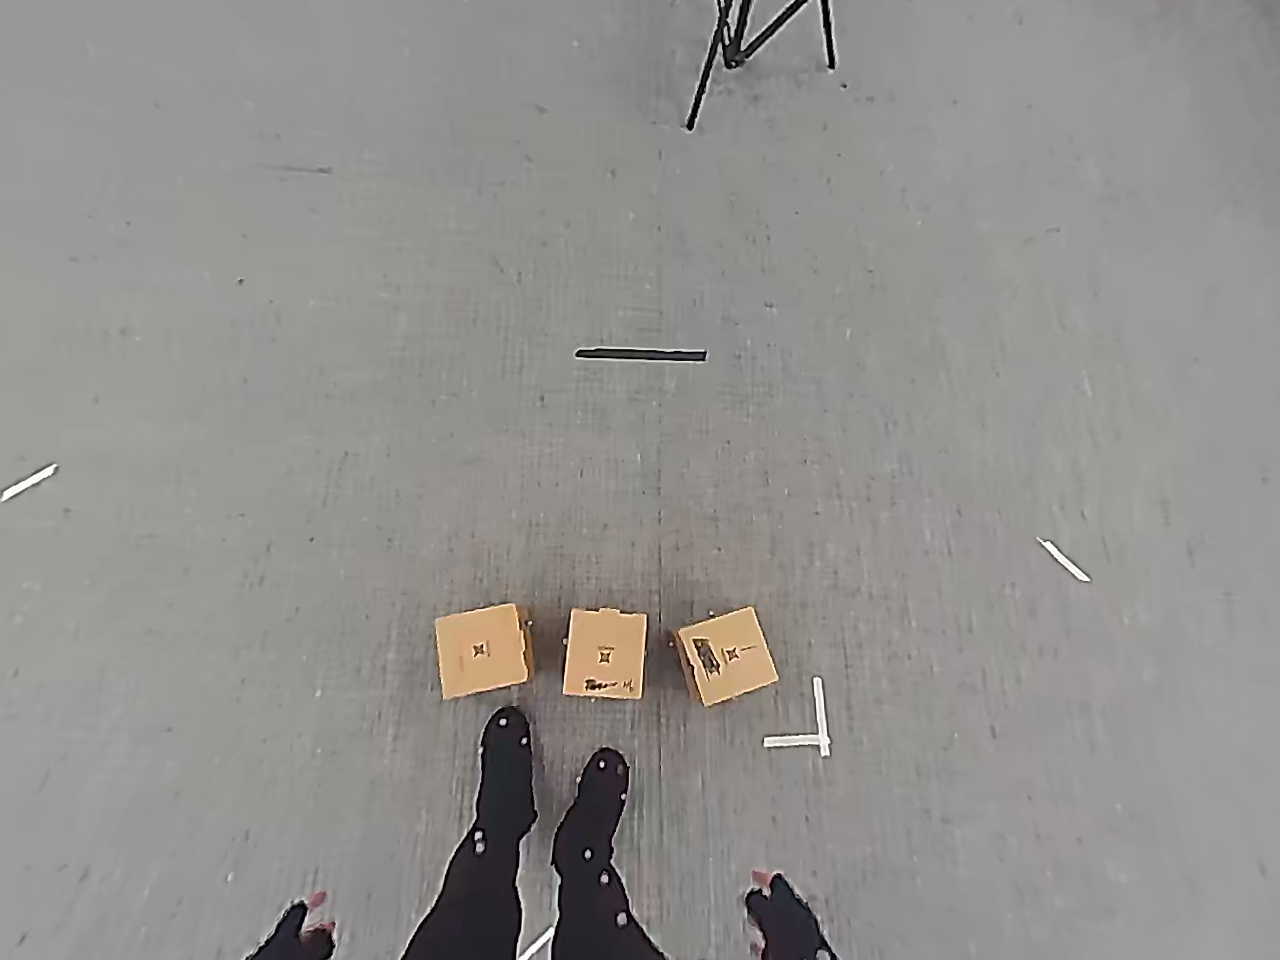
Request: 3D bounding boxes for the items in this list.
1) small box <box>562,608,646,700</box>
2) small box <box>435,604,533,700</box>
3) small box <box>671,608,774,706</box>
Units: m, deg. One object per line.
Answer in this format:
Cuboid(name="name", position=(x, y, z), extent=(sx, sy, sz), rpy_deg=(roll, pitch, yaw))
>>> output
Cuboid(name="small box", position=(-0.083, 0.390, 1.221), extent=(0.168, 0.176, 0.179), rpy_deg=(6, 74, -3))
Cuboid(name="small box", position=(-0.339, 0.378, 1.205), extent=(0.179, 0.176, 0.168), rpy_deg=(-11, 75, -6))
Cuboid(name="small box", position=(0.178, 0.400, 1.237), extent=(0.179, 0.176, 0.168), rpy_deg=(-16, 76, -9))
